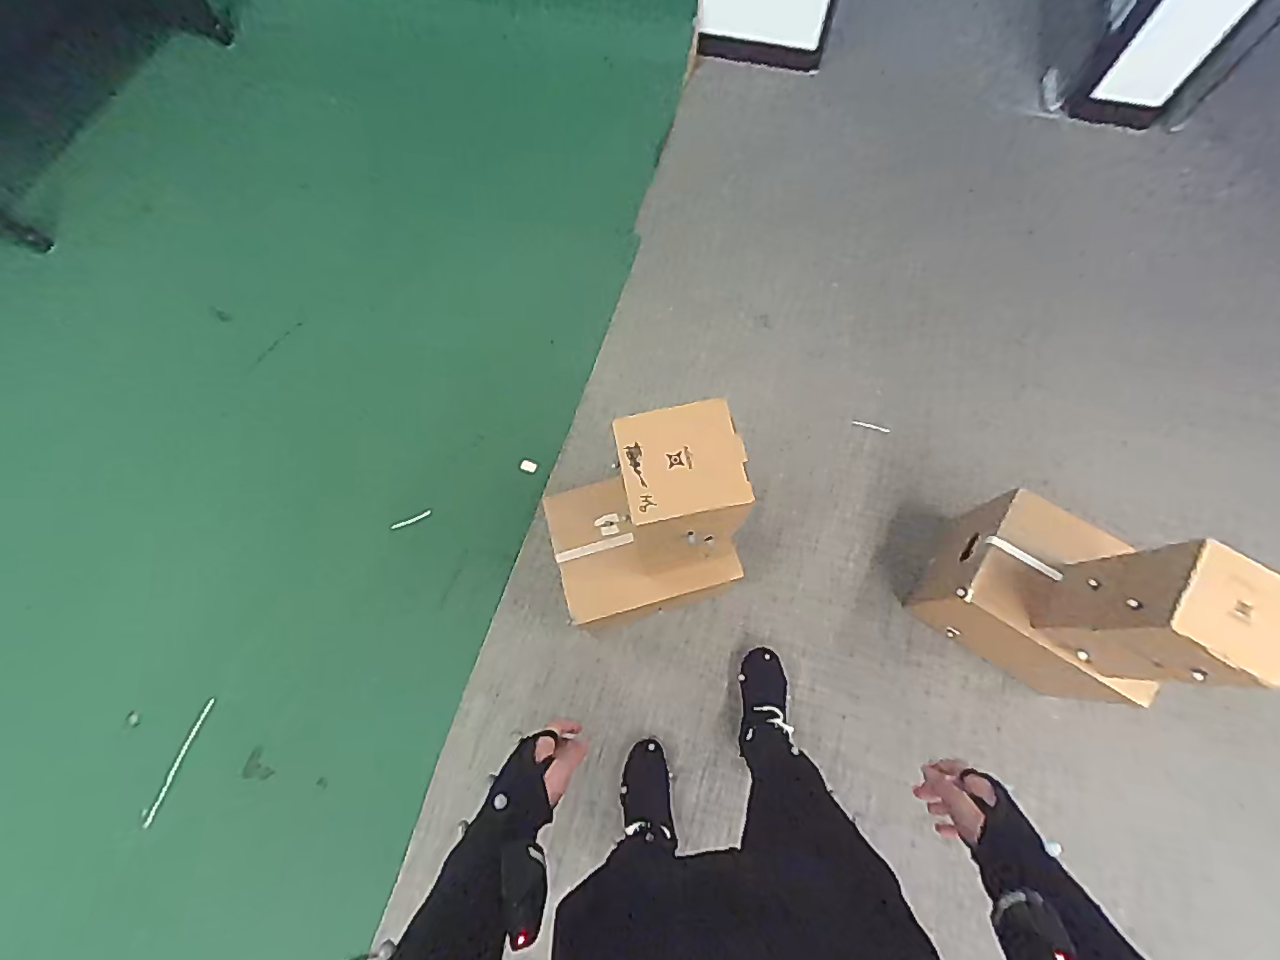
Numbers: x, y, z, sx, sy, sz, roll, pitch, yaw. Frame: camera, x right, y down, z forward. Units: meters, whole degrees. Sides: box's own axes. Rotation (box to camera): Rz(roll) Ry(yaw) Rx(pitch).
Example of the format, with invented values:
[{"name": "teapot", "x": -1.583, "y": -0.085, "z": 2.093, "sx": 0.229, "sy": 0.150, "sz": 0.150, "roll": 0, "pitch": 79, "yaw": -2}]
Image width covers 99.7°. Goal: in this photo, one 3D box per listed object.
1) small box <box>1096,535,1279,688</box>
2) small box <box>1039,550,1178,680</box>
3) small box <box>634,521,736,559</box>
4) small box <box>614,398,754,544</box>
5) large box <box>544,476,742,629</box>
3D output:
[{"name": "small box", "x": 0.931, "y": 0.222, "z": 0.911, "sx": 0.168, "sy": 0.176, "sz": 0.179, "roll": 34, "pitch": 77, "yaw": 11}, {"name": "small box", "x": 0.944, "y": 0.266, "z": 1.068, "sx": 0.168, "sy": 0.176, "sz": 0.179, "roll": 36, "pitch": 79, "yaw": 12}, {"name": "small box", "x": 0.065, "y": 0.040, "z": 1.001, "sx": 0.179, "sy": 0.176, "sz": 0.168, "roll": -11, "pitch": 72, "yaw": -1}, {"name": "small box", "x": 0.061, "y": -0.006, "z": 0.844, "sx": 0.179, "sy": 0.176, "sz": 0.168, "roll": -11, "pitch": 72, "yaw": -2}, {"name": "large box", "x": 0.010, "y": 0.172, "z": 1.393, "sx": 0.408, "sy": 0.320, "sz": 0.320, "roll": -16, "pitch": 71, "yaw": -2}]
